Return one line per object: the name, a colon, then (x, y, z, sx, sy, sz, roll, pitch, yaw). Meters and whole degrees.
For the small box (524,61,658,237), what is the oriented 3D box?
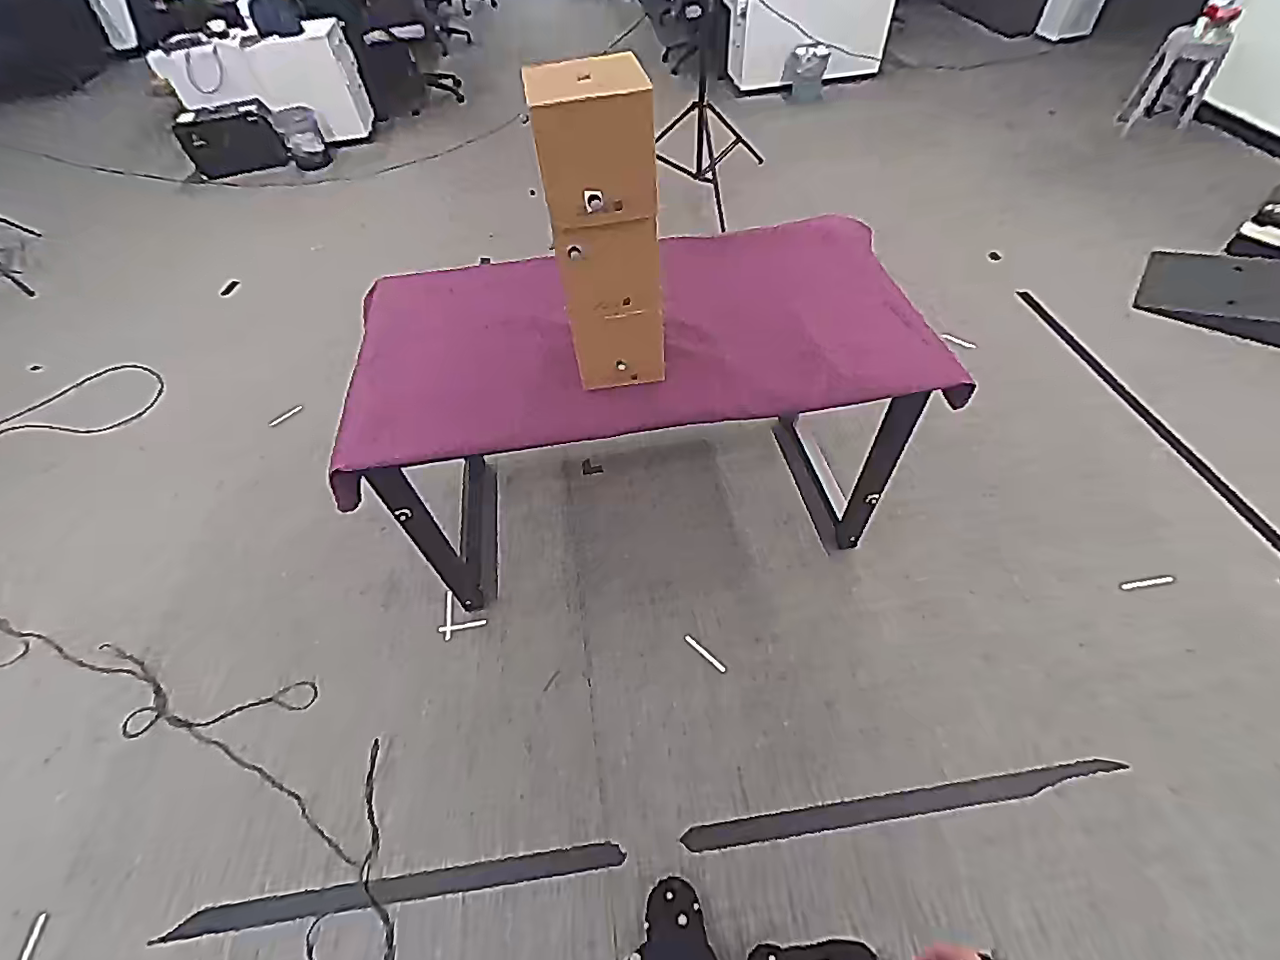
small box: (-0.071, -0.491, 0.807, 0.168, 0.176, 0.179, -11, 52, -3)

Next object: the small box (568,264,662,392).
small box: (-0.048, -0.299, 1.071, 0.168, 0.176, 0.179, -8, 52, -1)
